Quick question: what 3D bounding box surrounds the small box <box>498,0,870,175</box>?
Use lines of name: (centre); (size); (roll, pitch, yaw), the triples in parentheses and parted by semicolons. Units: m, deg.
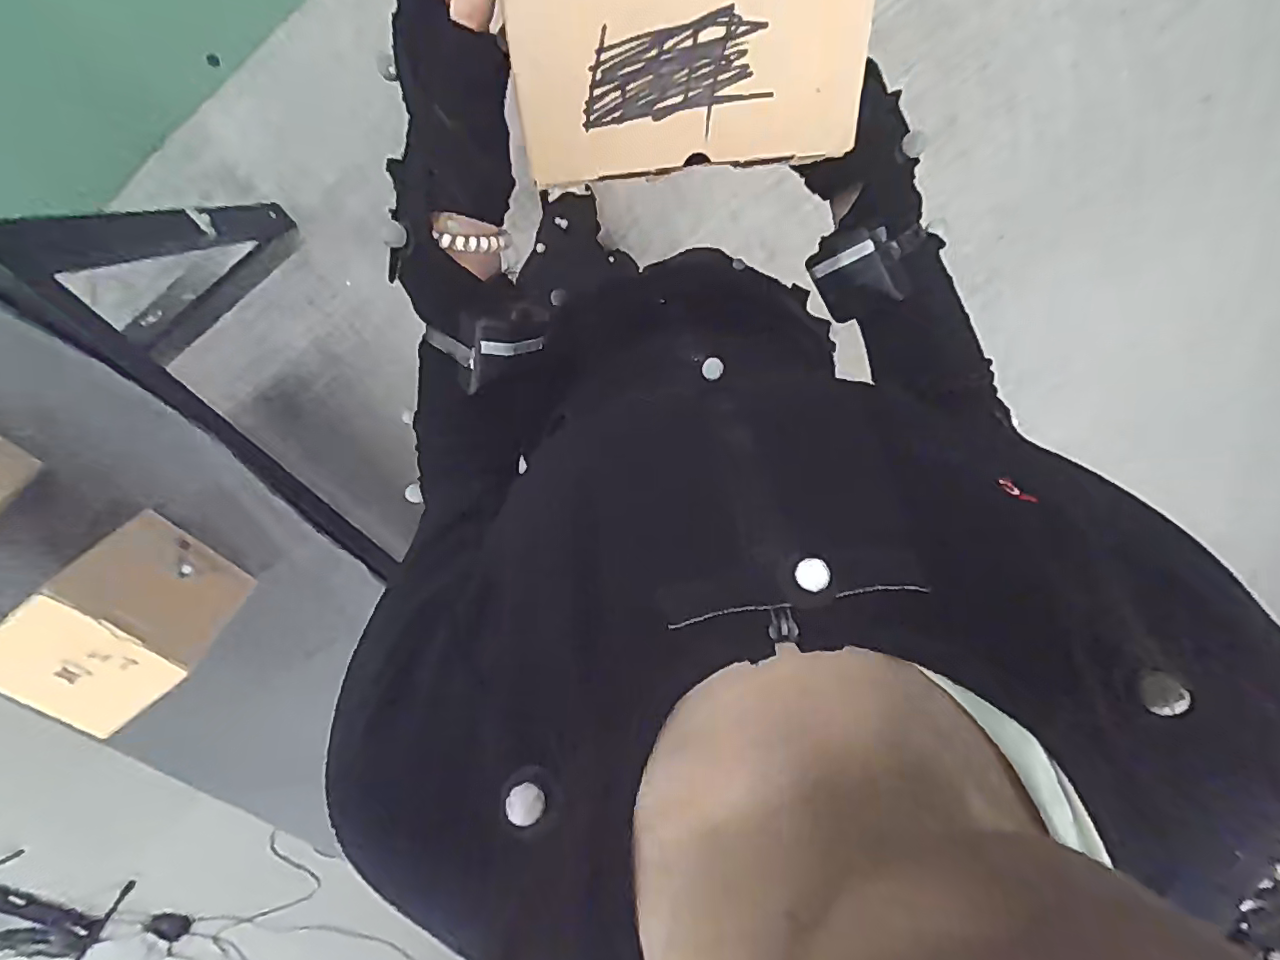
small box: (0.008, -0.276, 0.278); (0.168, 0.176, 0.179); (-9, 130, -7)

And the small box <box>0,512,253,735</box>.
small box: (-0.647, 0.175, 0.684); (0.179, 0.176, 0.168); (-34, 118, 12)
